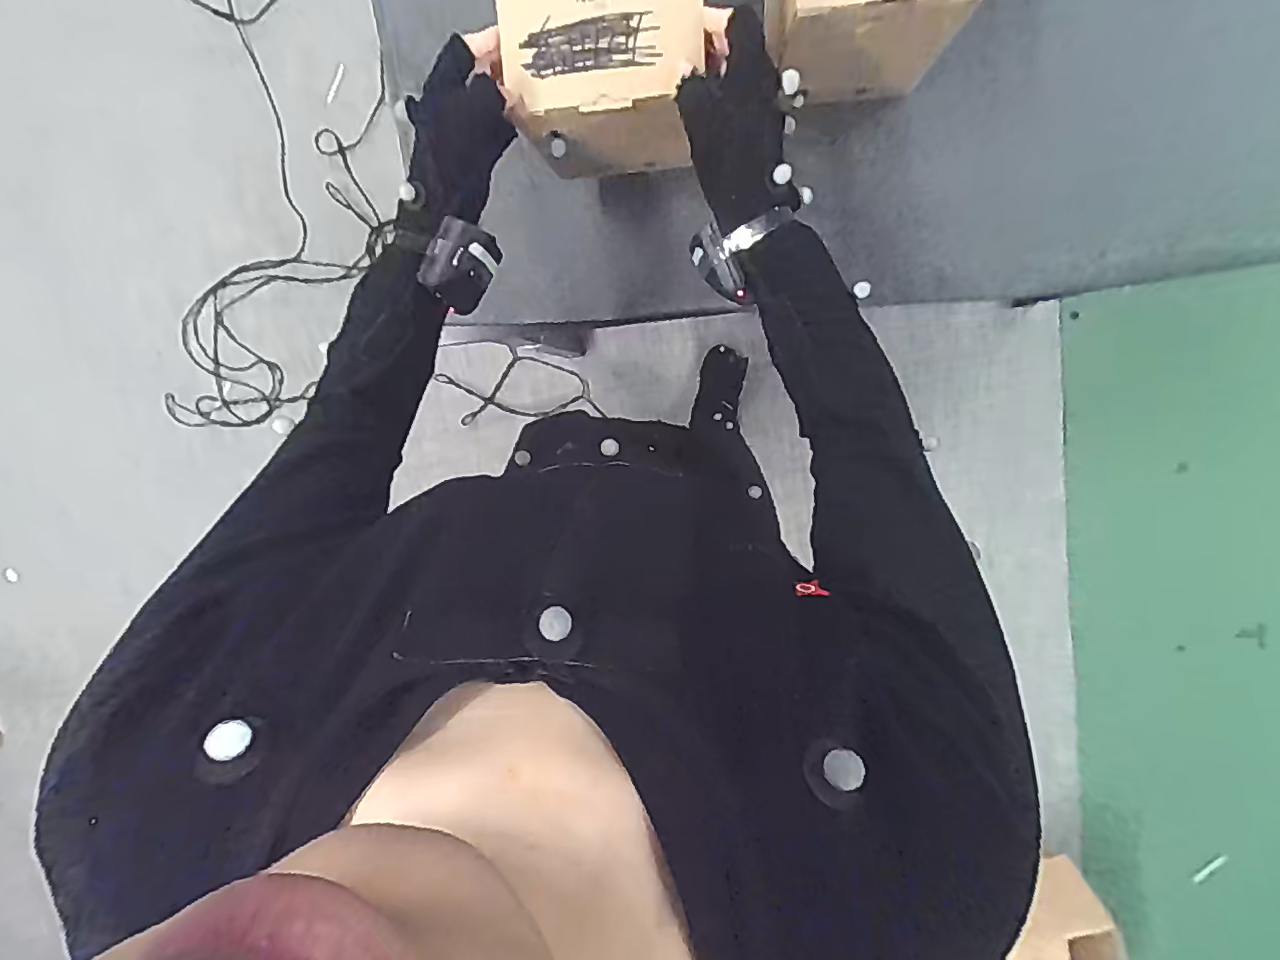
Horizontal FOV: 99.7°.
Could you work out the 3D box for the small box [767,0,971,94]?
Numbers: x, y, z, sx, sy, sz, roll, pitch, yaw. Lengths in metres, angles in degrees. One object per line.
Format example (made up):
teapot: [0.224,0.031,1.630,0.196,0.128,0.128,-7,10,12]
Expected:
small box: [0.221,-0.514,0.533,0.168,0.176,0.179,-2,99,5]

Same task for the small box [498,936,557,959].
small box: [-0.350,1.546,1.647,0.168,0.176,0.179,-4,100,6]
